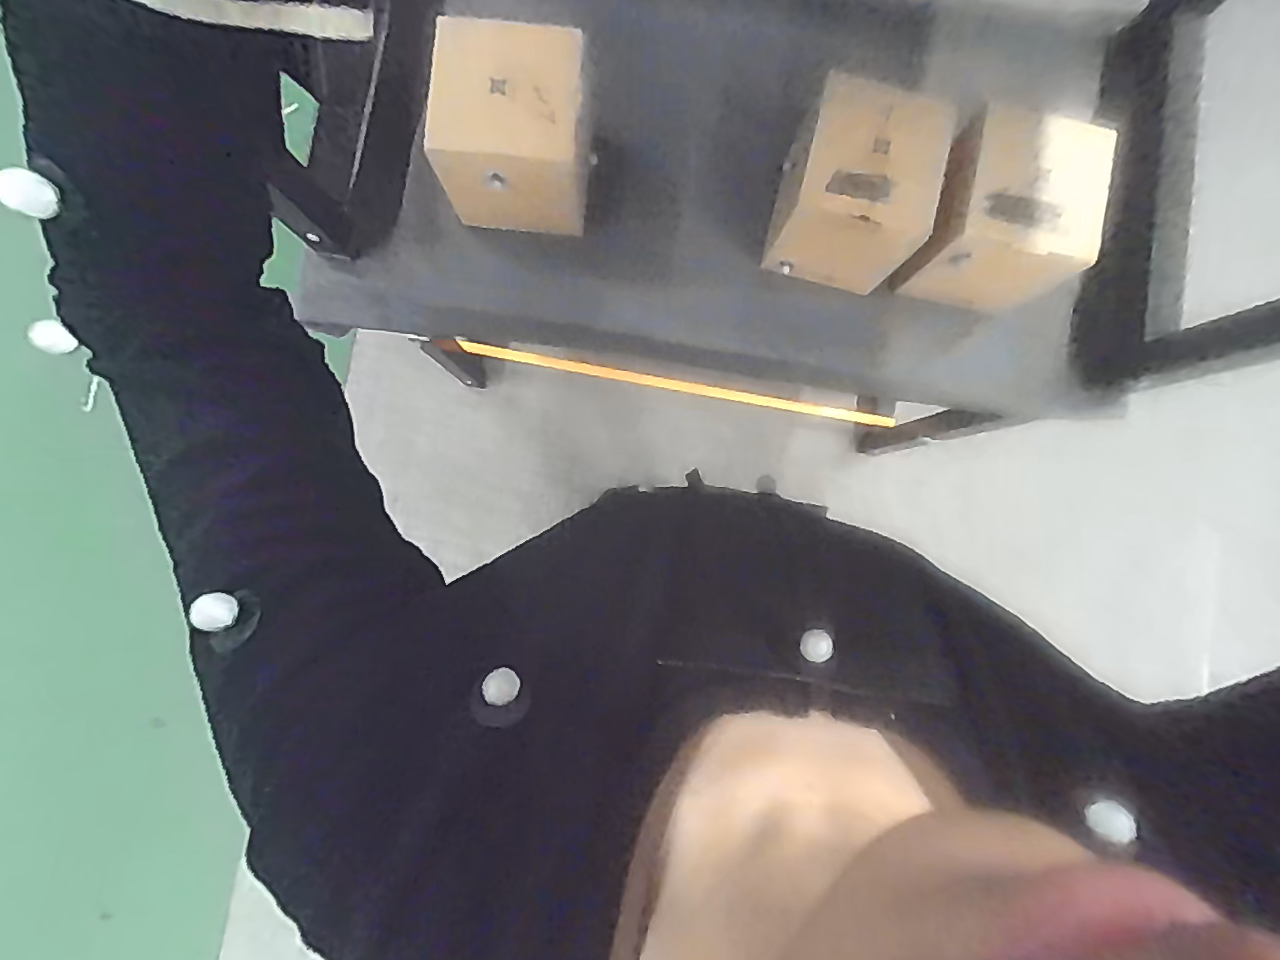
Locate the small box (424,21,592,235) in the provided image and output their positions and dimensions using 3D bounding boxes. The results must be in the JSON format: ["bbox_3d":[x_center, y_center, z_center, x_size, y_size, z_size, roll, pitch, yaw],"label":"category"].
[{"bbox_3d":[-0.161,-0.447,0.713,0.179,0.176,0.168,5,87,-2],"label":"small box"}]
